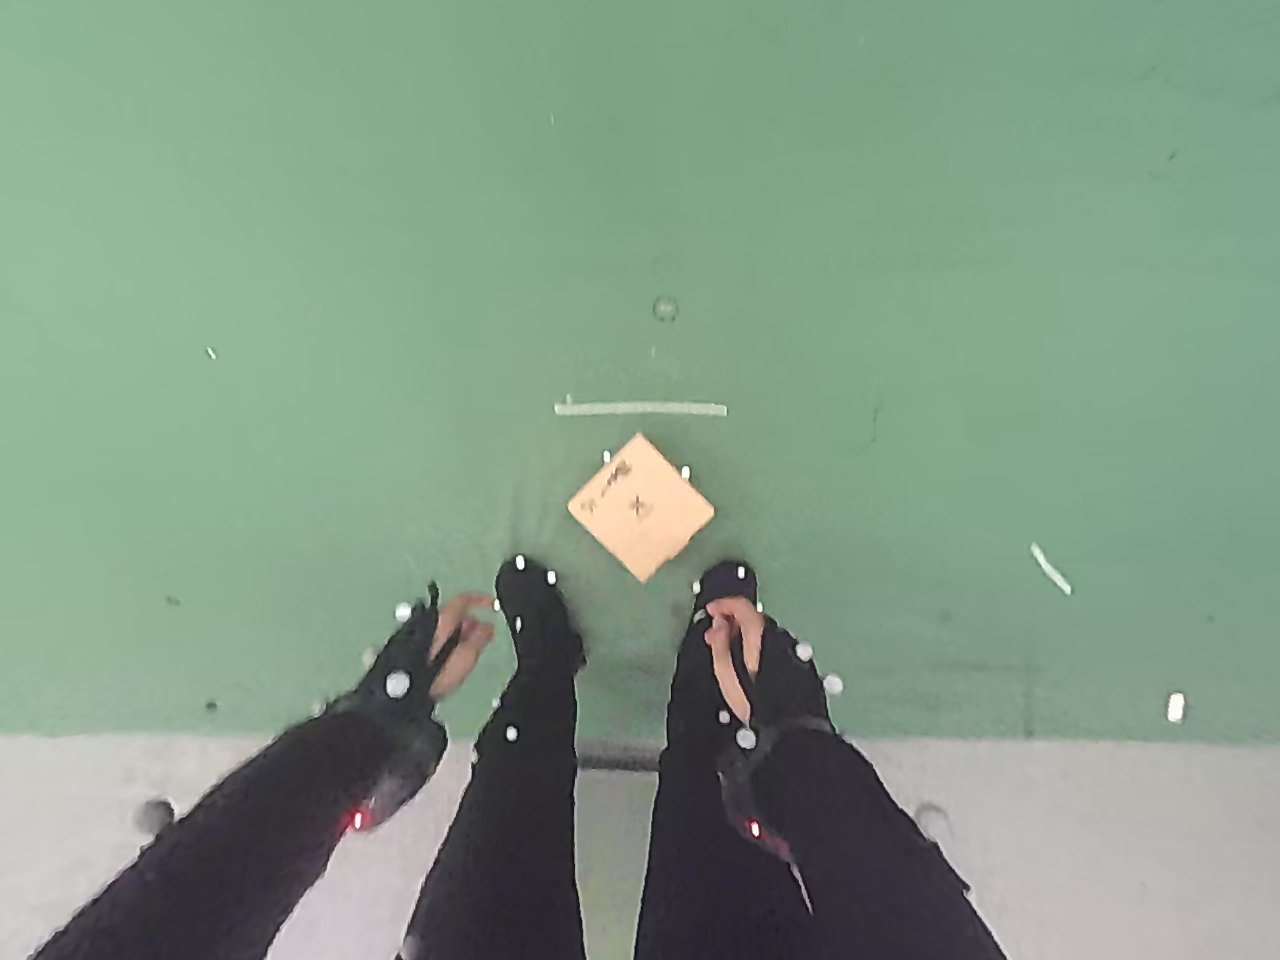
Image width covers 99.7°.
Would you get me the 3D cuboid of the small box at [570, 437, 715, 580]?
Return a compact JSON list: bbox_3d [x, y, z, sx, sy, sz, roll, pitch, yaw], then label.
[{"bbox_3d":[0.005,0.038,0.937,0.168,0.176,0.179,-44,94,5],"label":"small box"}]
